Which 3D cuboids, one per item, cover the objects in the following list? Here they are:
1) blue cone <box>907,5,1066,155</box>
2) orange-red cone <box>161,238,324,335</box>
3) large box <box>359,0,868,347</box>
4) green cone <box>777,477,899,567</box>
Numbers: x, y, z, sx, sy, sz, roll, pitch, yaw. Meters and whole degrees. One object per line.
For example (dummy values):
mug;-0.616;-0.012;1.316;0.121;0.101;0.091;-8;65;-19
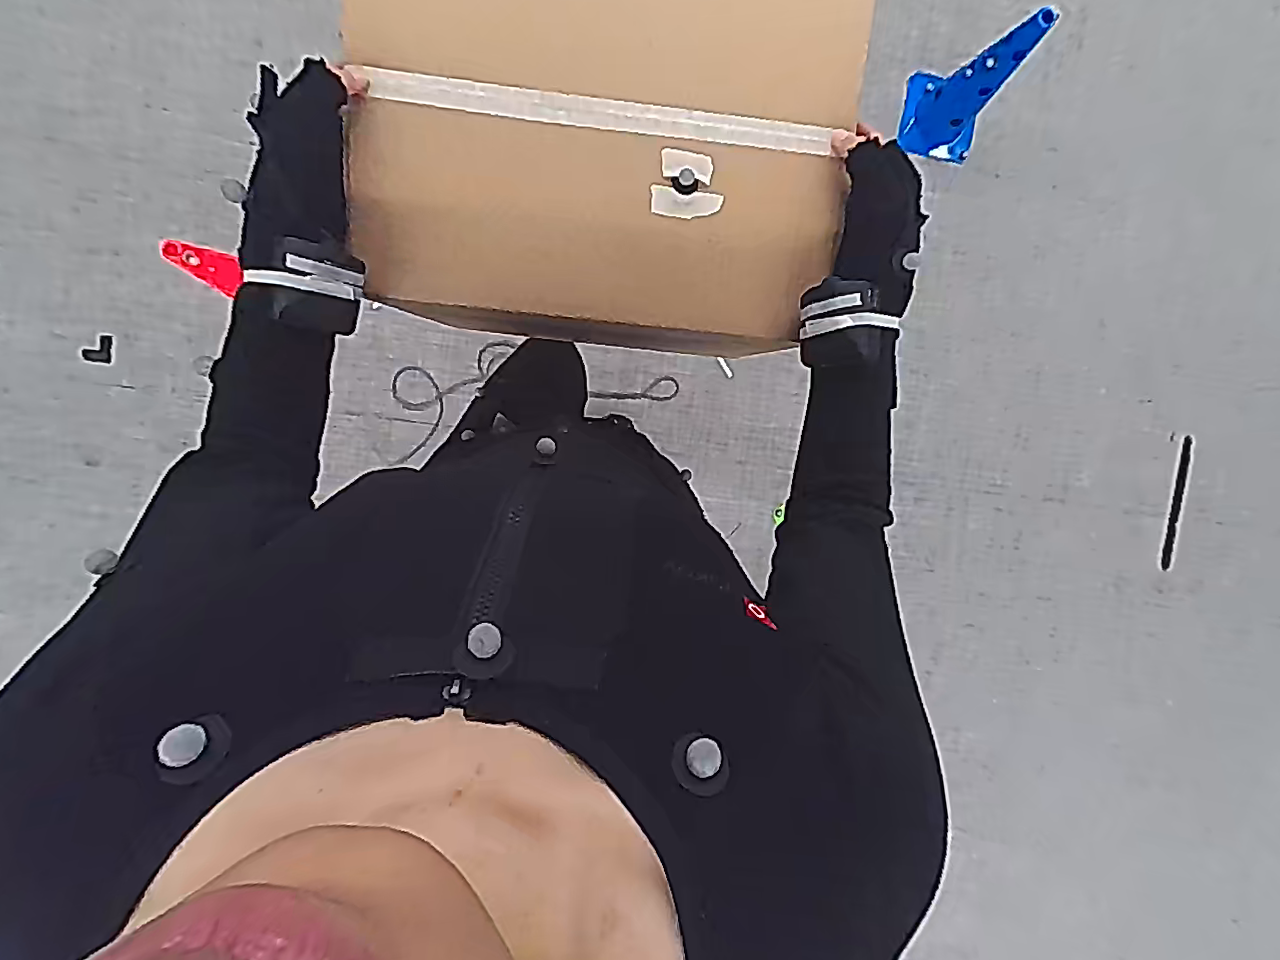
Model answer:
blue cone;0.819;-0.957;1.272;0.192;0.380;0.193;11;95;-5
orange-red cone;-0.897;-0.457;1.201;0.198;0.360;0.199;5;96;-3
large box;-0.034;-0.325;0.581;0.408;0.320;0.320;4;100;-5
green cone;0.517;0.132;1.333;0.202;0.368;0.200;-30;97;-2
